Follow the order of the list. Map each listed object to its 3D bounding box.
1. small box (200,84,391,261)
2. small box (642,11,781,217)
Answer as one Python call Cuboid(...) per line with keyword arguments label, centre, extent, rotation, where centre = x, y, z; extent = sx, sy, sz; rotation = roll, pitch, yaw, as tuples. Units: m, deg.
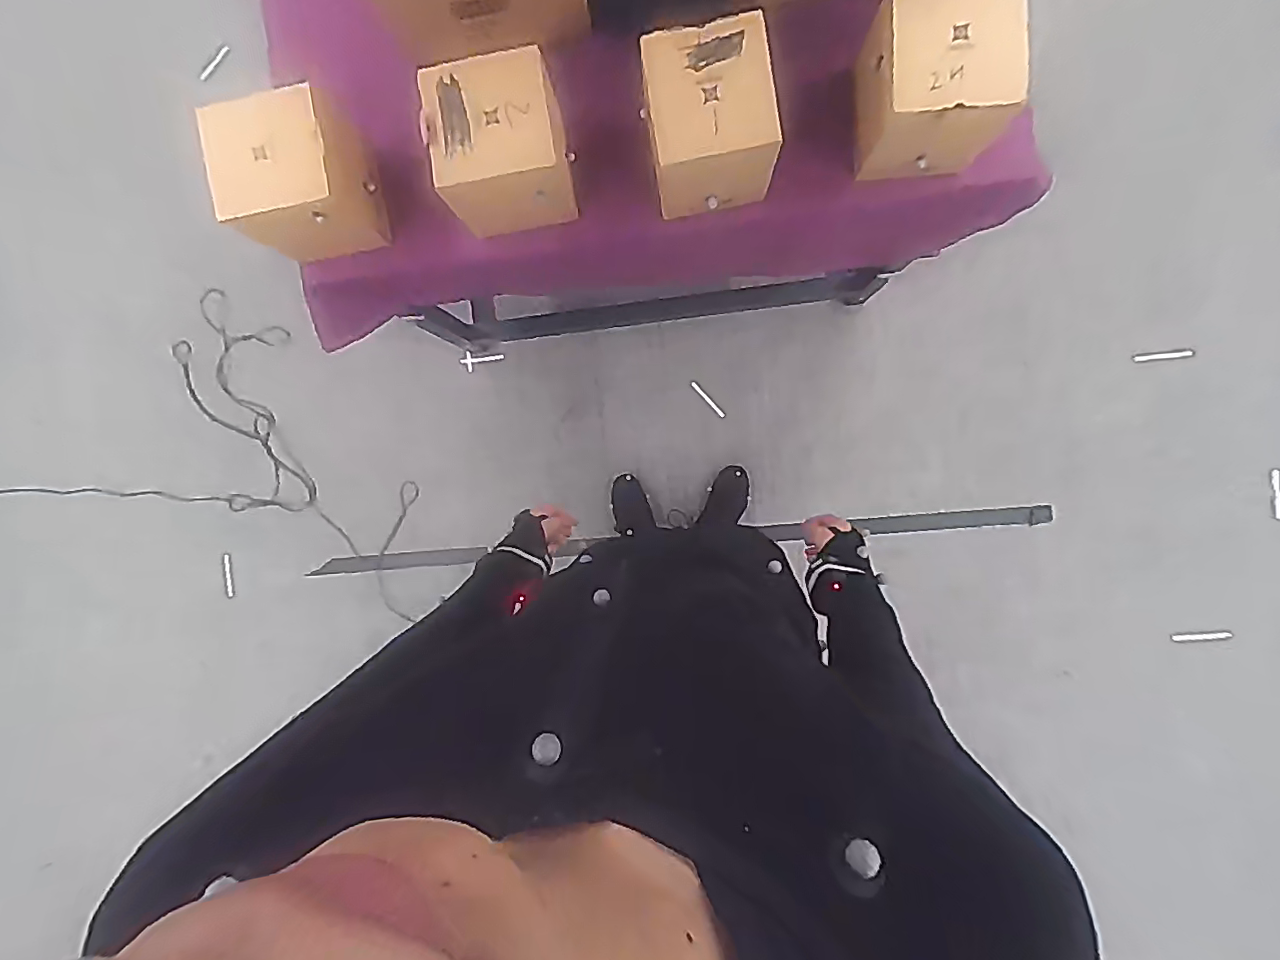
Cuboid(label="small box", centre=(-0.525, -0.464, 0.844), extent=(0.179, 0.176, 0.168), rotation=(-10, 91, 3))
Cuboid(label="small box", centre=(0.099, -0.519, 0.792), extent=(0.168, 0.176, 0.179), rotation=(-9, 92, 6))
